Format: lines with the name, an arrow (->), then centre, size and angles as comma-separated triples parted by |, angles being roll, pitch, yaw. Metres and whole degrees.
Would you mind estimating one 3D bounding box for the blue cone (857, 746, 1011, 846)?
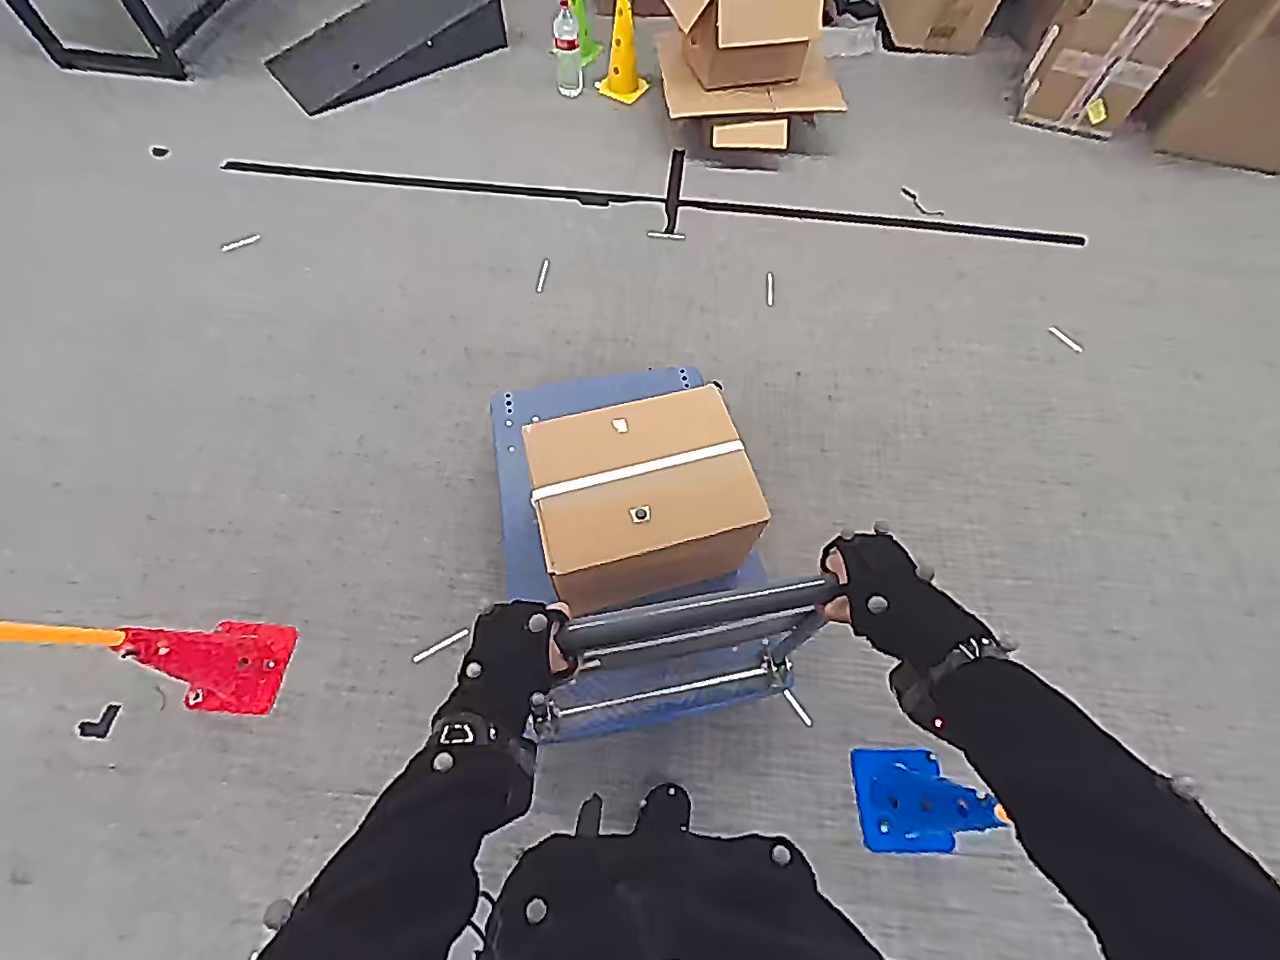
blue cone -> 0.593, 0.621, 1.055 | 0.193, 0.380, 0.192 | 3, 62, -1
